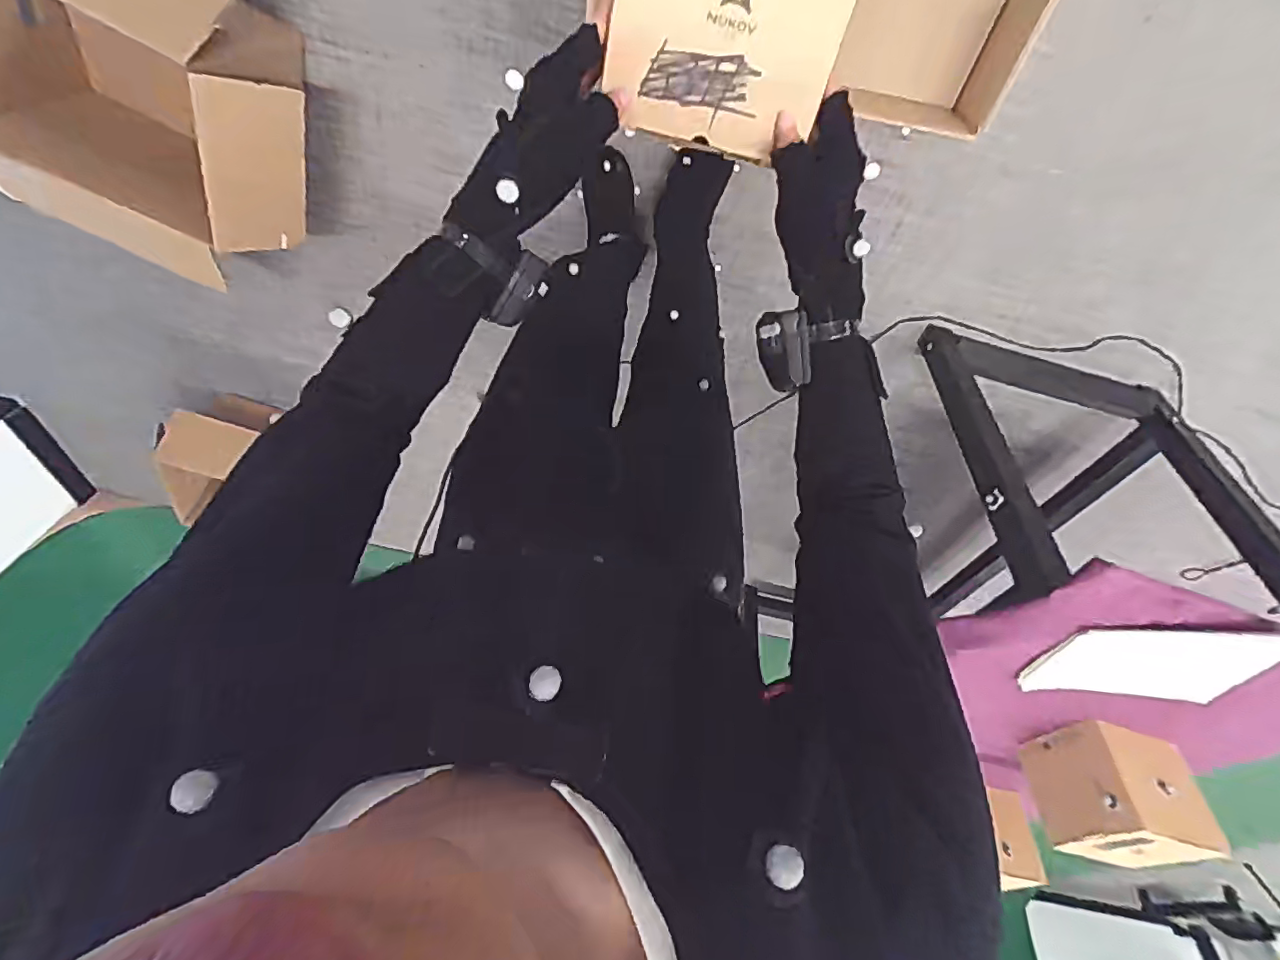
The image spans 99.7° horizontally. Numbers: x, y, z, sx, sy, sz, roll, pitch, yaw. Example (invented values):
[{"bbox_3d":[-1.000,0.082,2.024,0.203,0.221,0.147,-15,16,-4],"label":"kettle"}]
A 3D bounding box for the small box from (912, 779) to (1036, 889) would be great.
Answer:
[{"bbox_3d":[0.718,0.786,1.204,0.179,0.176,0.168,16,136,-5],"label":"small box"}]

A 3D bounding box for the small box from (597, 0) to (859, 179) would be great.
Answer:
[{"bbox_3d":[0.064,-0.374,0.443,0.168,0.176,0.179,10,124,-10],"label":"small box"}]
